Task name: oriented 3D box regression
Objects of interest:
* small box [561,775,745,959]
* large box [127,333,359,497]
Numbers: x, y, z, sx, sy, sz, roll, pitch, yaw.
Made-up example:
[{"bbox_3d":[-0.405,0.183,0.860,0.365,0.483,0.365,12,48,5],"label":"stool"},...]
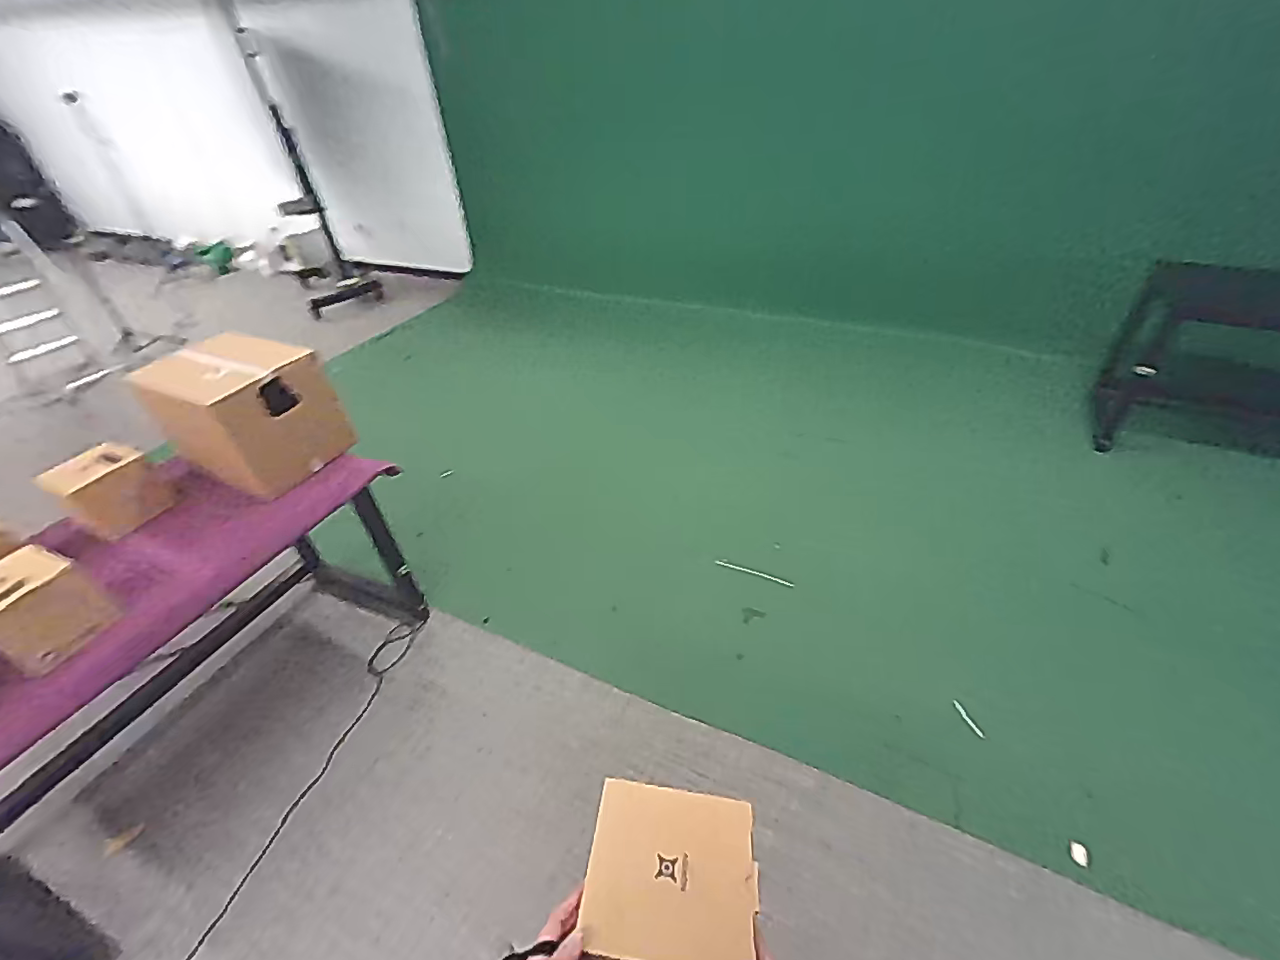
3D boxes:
[{"bbox_3d":[0.017,0.468,0.607,0.179,0.176,0.168,7,33,4],"label":"small box"},{"bbox_3d":[-1.118,-0.197,1.561,0.408,0.320,0.320,16,44,22],"label":"large box"}]
